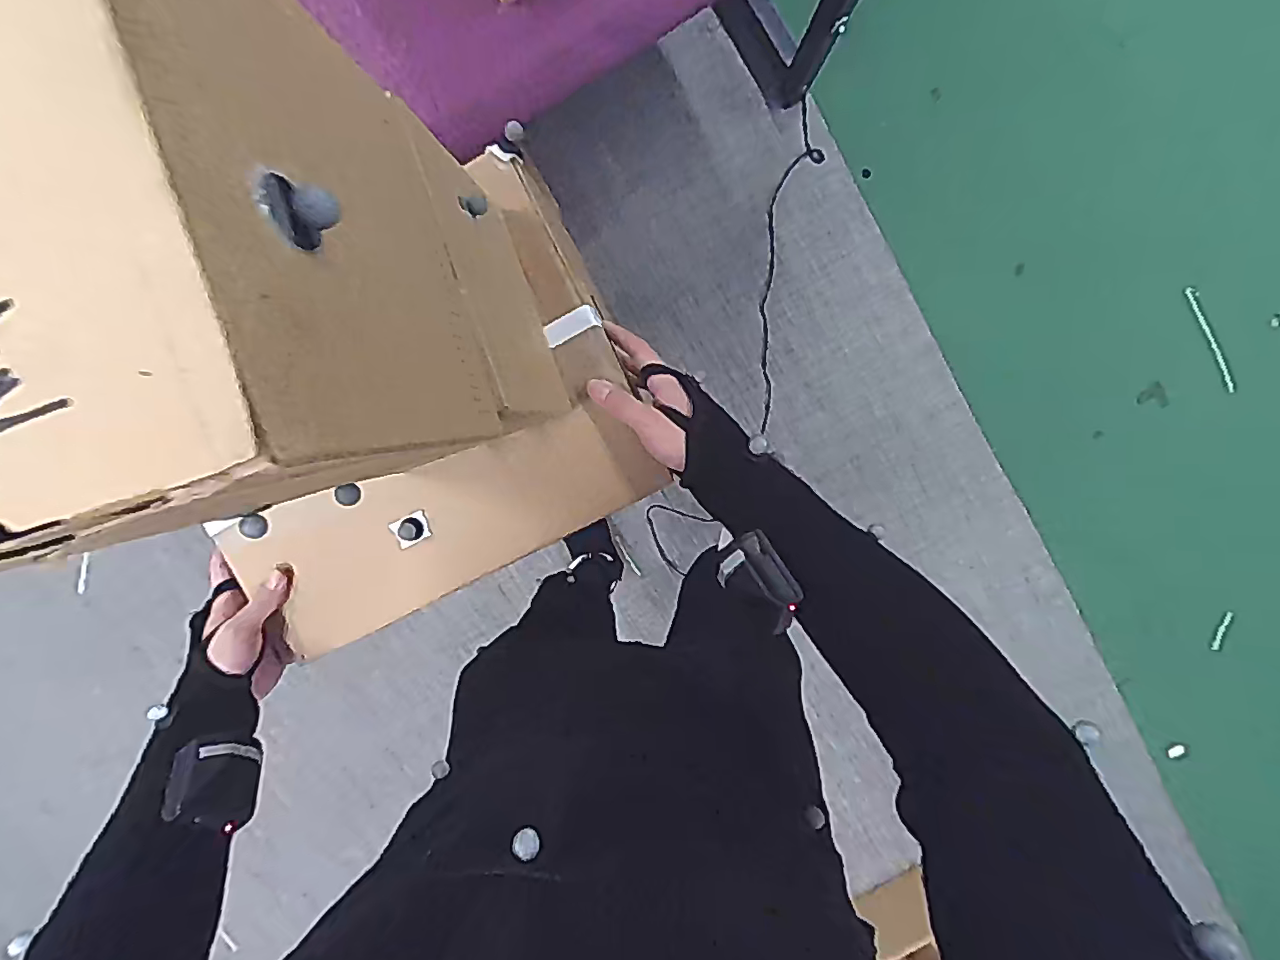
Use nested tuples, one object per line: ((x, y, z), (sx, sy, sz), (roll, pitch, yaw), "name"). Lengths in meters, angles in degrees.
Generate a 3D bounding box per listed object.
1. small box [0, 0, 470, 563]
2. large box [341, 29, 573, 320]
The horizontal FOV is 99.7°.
((-0.190, -0.074, 0.204), (0.168, 0.176, 0.179), (-17, 95, 7), "small box")
((-0.396, -0.634, 1.203), (0.320, 0.320, 0.408), (-32, 94, 1), "large box")
